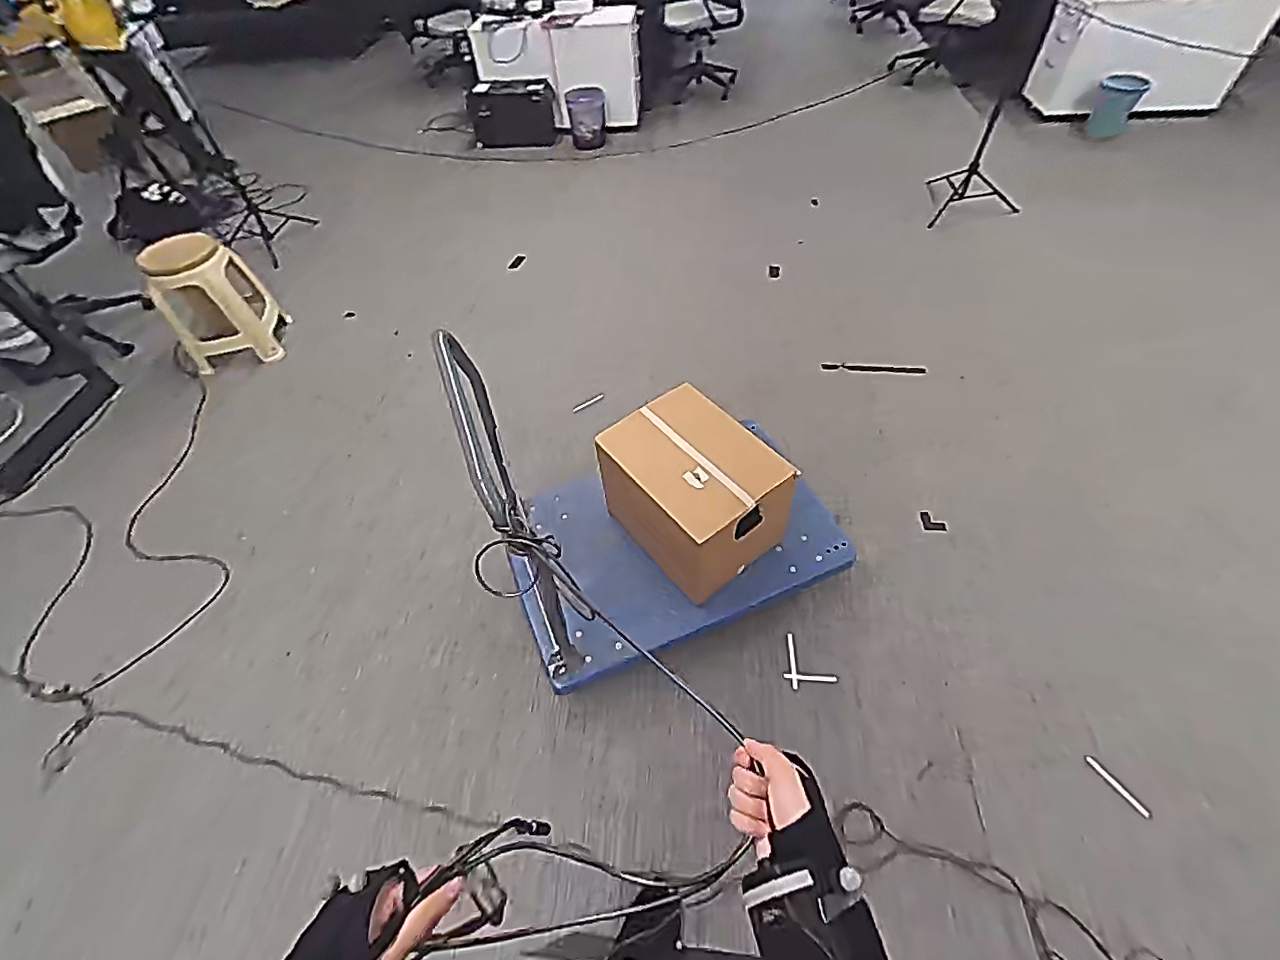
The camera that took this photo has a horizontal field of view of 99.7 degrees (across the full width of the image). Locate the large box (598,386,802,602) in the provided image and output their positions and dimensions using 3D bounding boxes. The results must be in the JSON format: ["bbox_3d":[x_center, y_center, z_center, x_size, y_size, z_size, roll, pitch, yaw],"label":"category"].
[{"bbox_3d":[0.140,0.032,1.409,0.320,0.320,0.408,-33,58,-19],"label":"large box"}]
